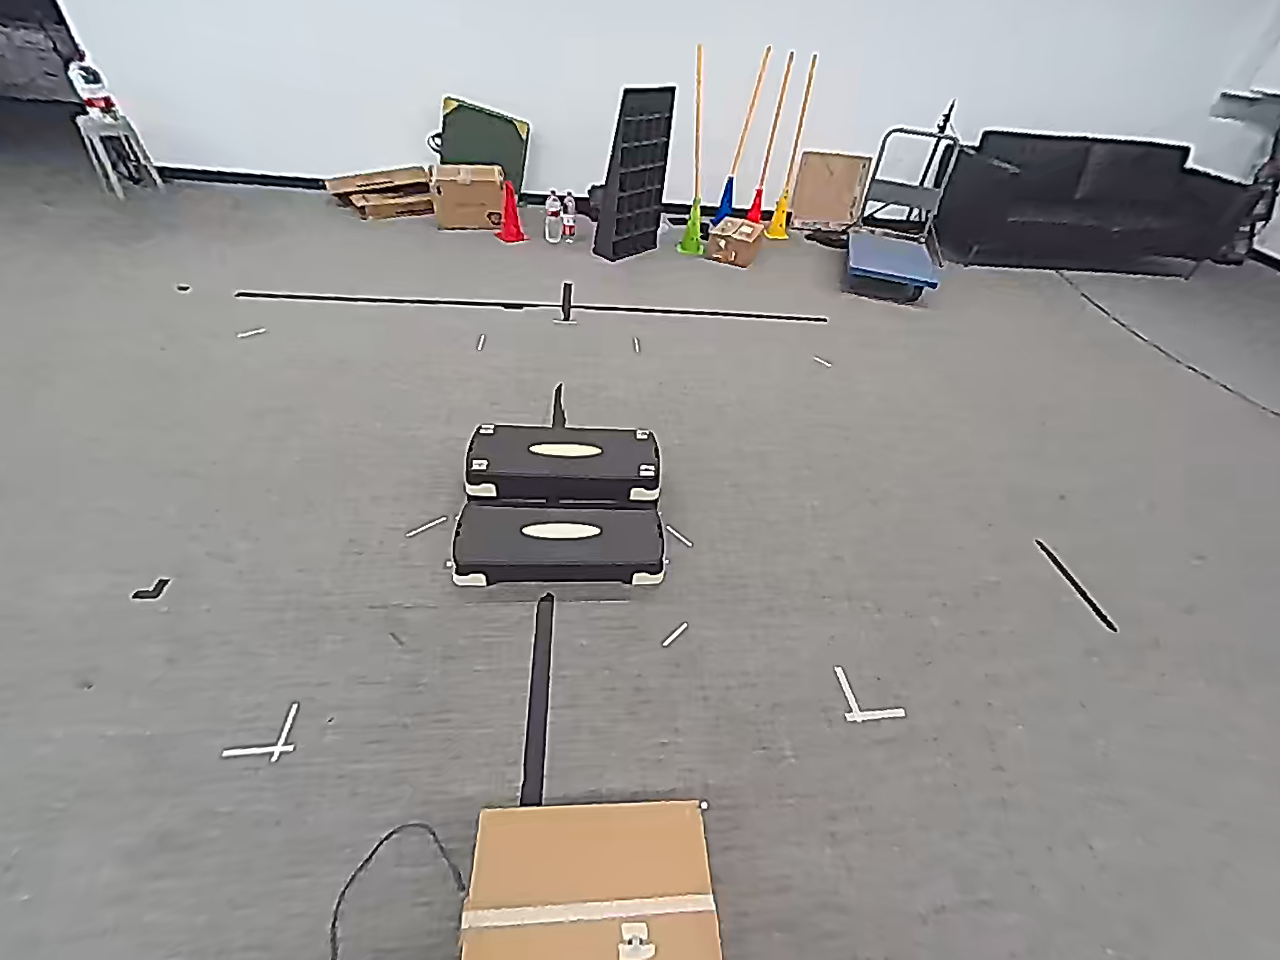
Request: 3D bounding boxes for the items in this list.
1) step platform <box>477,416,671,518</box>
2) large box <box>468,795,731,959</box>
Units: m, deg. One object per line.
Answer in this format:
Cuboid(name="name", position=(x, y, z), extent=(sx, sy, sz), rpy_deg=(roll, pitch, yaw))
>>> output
Cuboid(name="step platform", position=(-0.228, -0.050, 1.952), extent=(0.684, 0.204, 0.286), rpy_deg=(6, 42, -3))
Cuboid(name="large box", position=(-0.080, 0.791, 0.959), extent=(0.408, 0.320, 0.320), rpy_deg=(2, 42, -7))
